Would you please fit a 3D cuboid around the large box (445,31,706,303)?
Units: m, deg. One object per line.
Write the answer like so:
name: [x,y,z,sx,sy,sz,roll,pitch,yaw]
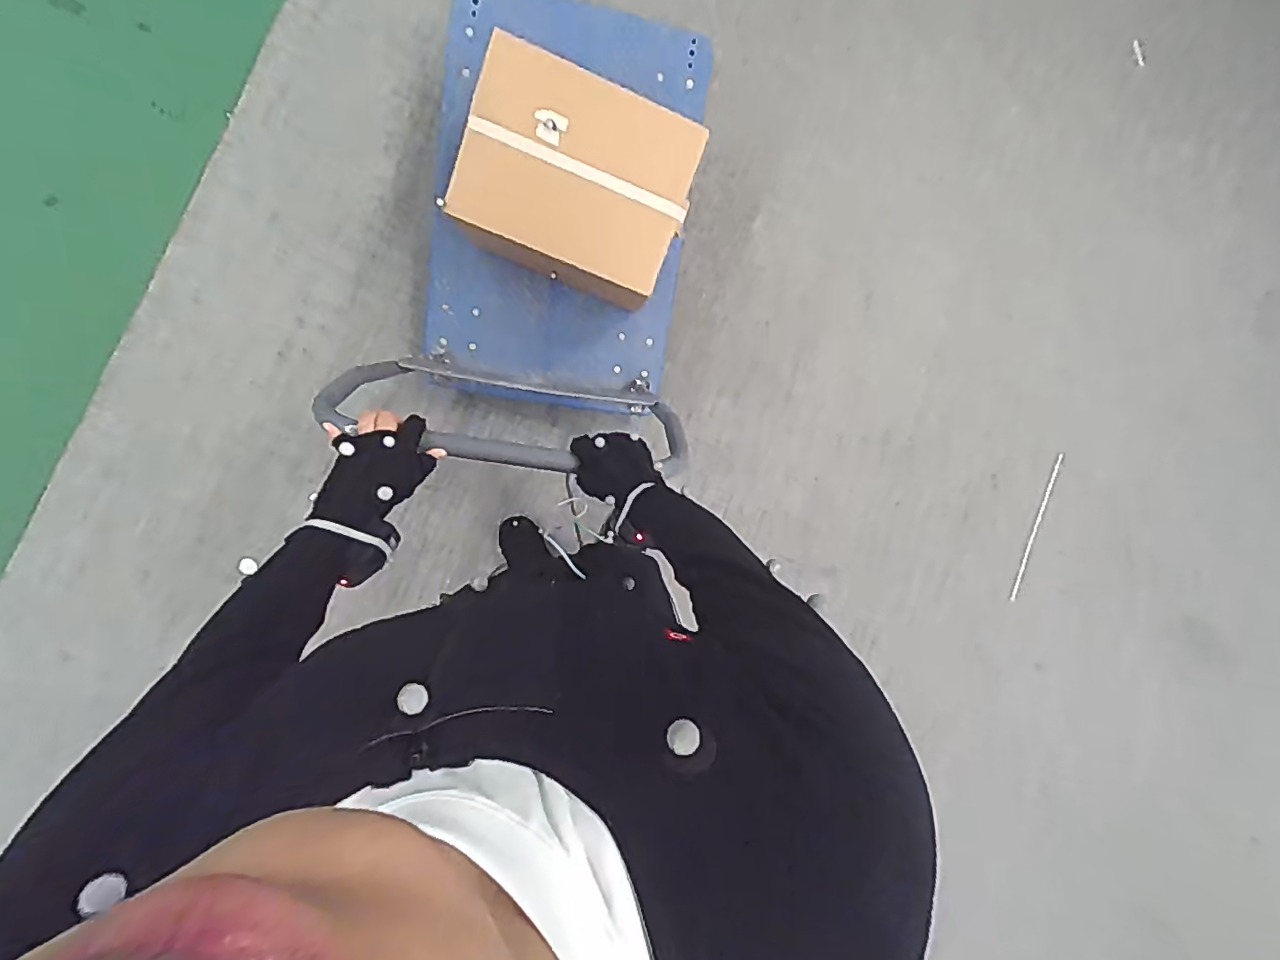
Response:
large box: [-0.125,-0.593,1.116,0.408,0.320,0.320,20,100,-9]
